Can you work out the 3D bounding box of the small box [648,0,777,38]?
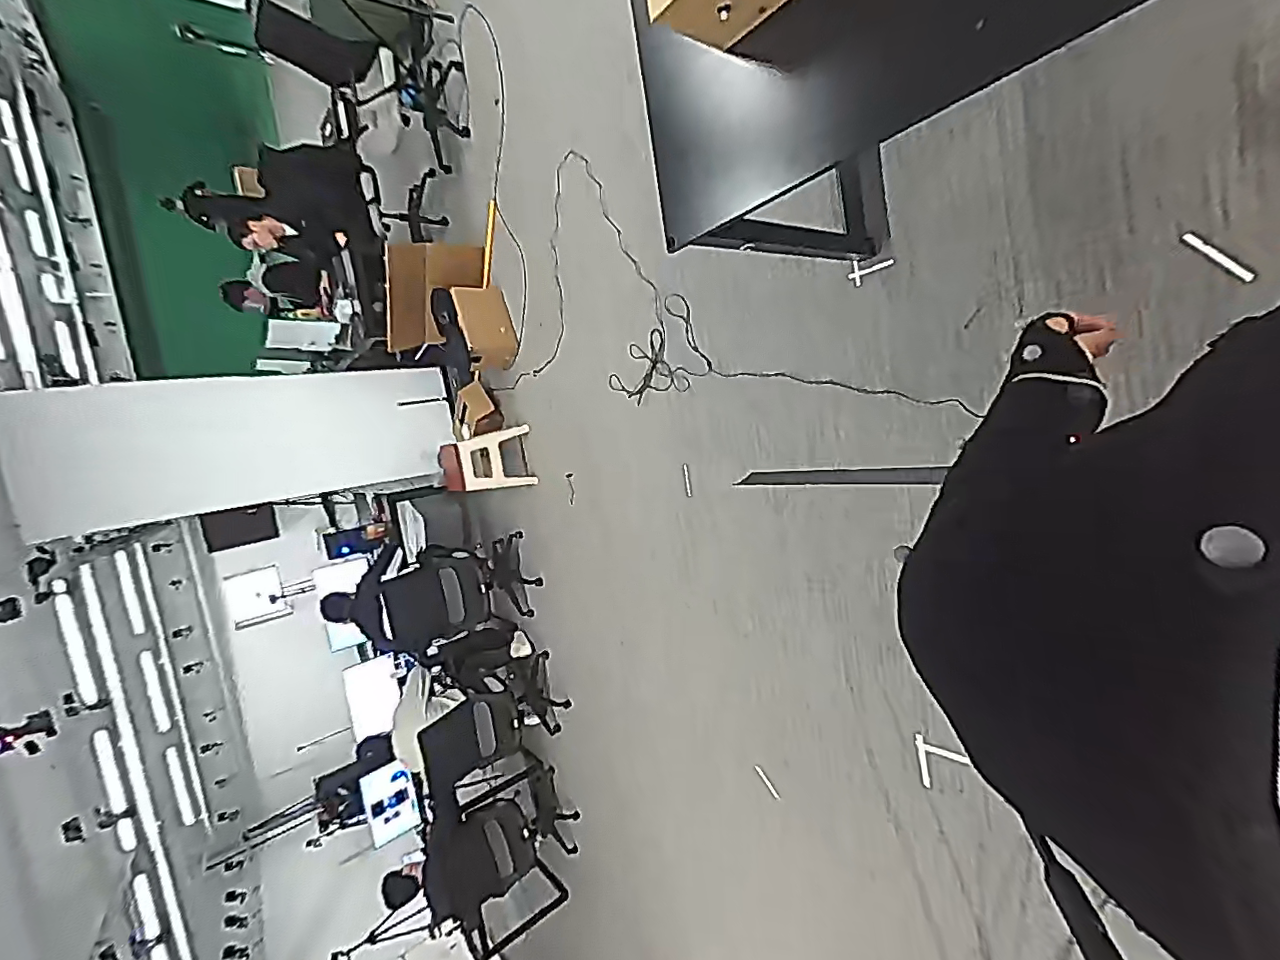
[{"bbox_3d":[0.119,-0.816,0.815,0.168,0.176,0.179,3,103,52],"label":"small box"}]
